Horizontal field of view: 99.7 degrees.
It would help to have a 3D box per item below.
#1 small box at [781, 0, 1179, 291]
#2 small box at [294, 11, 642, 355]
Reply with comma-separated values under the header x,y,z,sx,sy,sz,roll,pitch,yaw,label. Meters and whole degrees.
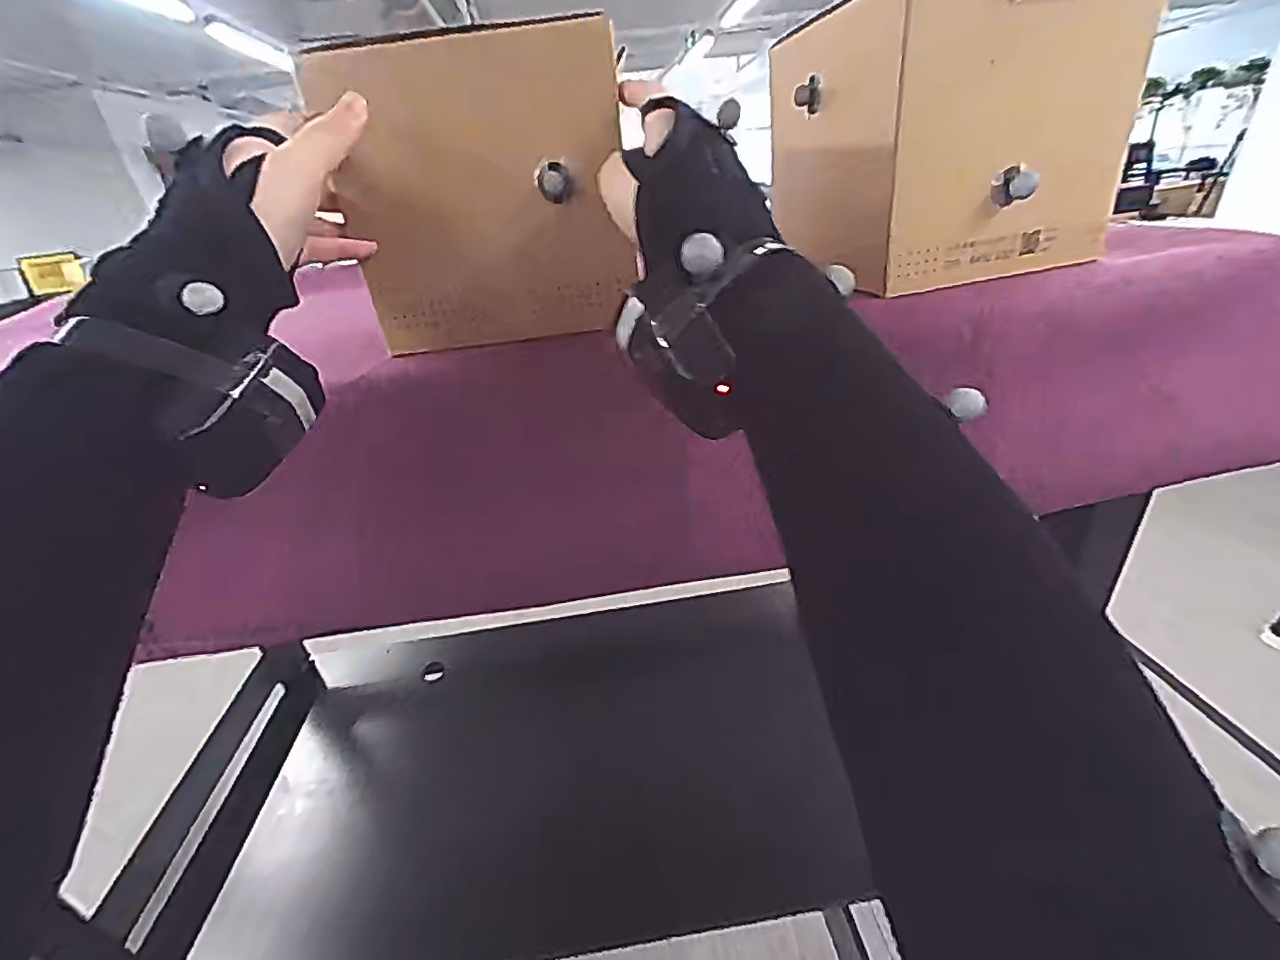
x,y,z,sx,sy,sz,roll,pitch,yaw,label
0.211,-0.240,0.391,0.168,0.176,0.179,-12,29,-7,small box
-0.091,-0.199,0.389,0.179,0.176,0.168,-7,28,1,small box
